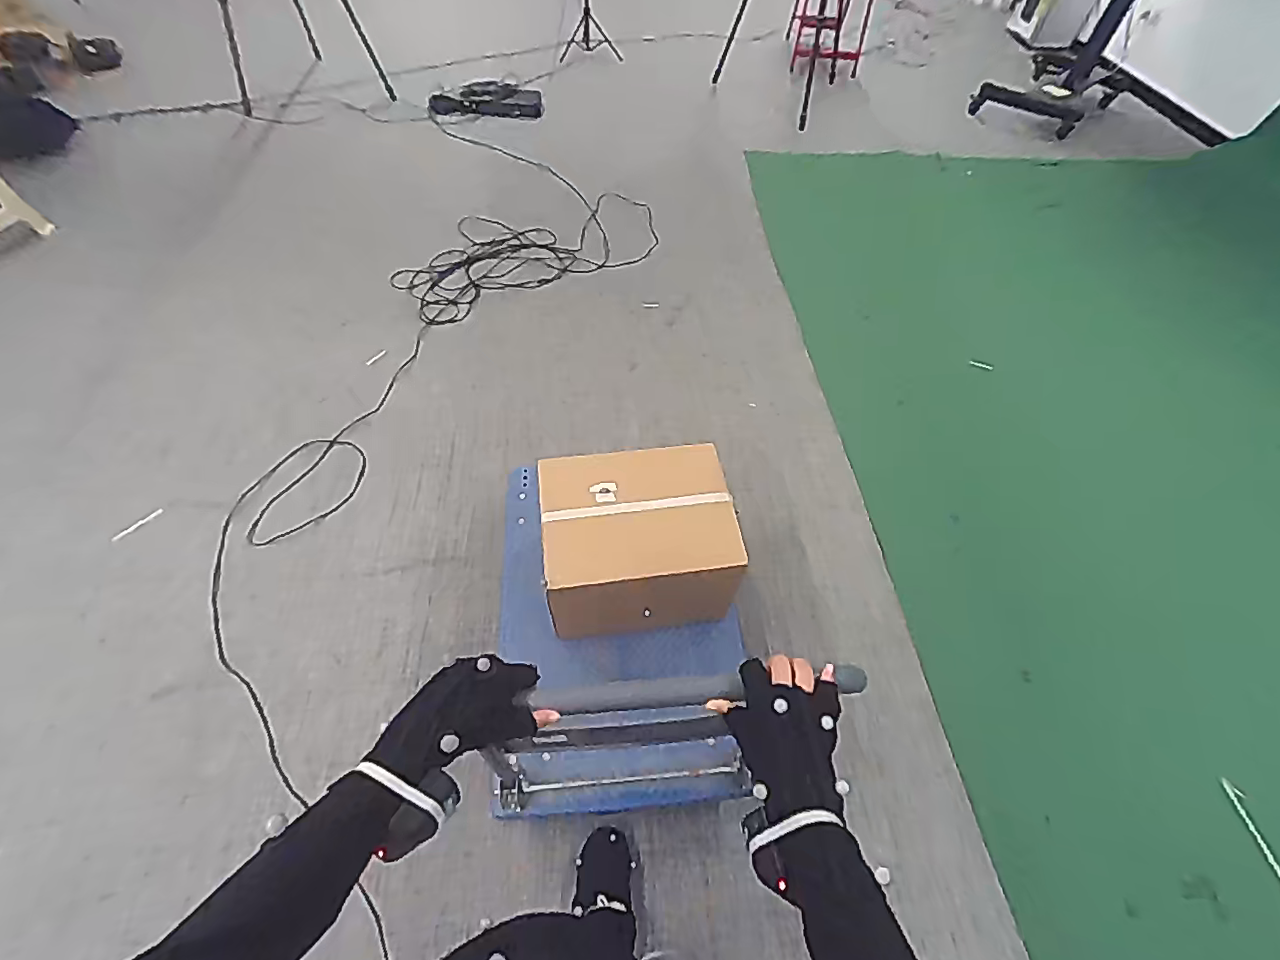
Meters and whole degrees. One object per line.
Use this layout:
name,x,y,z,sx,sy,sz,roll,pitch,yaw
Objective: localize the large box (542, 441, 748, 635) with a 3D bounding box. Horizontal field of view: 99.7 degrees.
large box,-0.001,0.144,1.279,0.408,0.320,0.320,-8,56,-6
